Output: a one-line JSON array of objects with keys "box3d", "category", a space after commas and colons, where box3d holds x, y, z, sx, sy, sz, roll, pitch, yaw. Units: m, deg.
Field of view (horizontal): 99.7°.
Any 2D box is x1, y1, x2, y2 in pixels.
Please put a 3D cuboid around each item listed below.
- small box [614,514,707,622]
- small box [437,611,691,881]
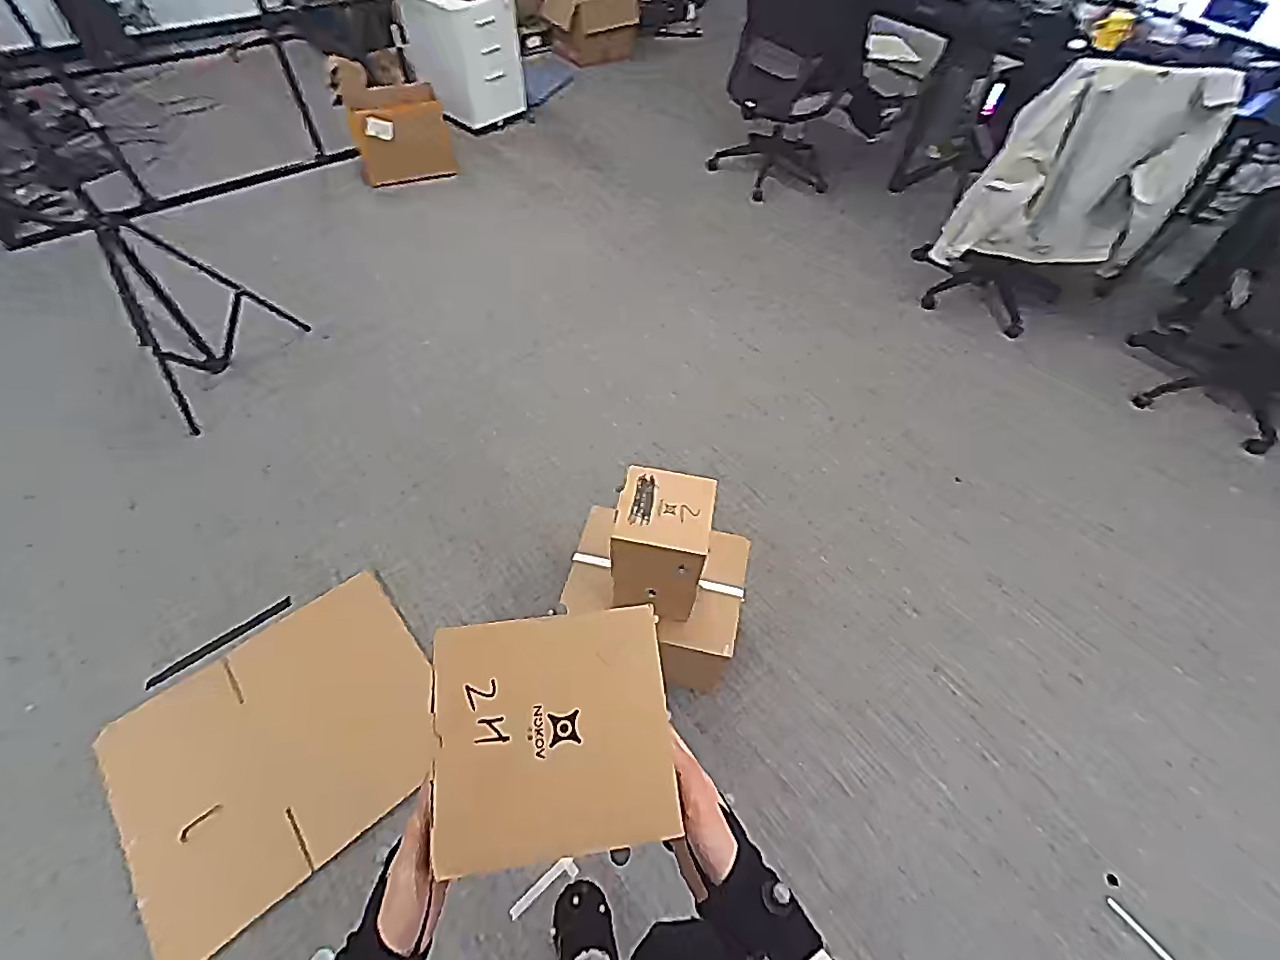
[{"box3d": [0.043, 0.198, 1.193, 0.179, 0.176, 0.168, 10, 56, 4], "category": "small box"}, {"box3d": [-0.067, 0.217, 0.472, 0.179, 0.176, 0.168, -4, 67, -8], "category": "small box"}]
